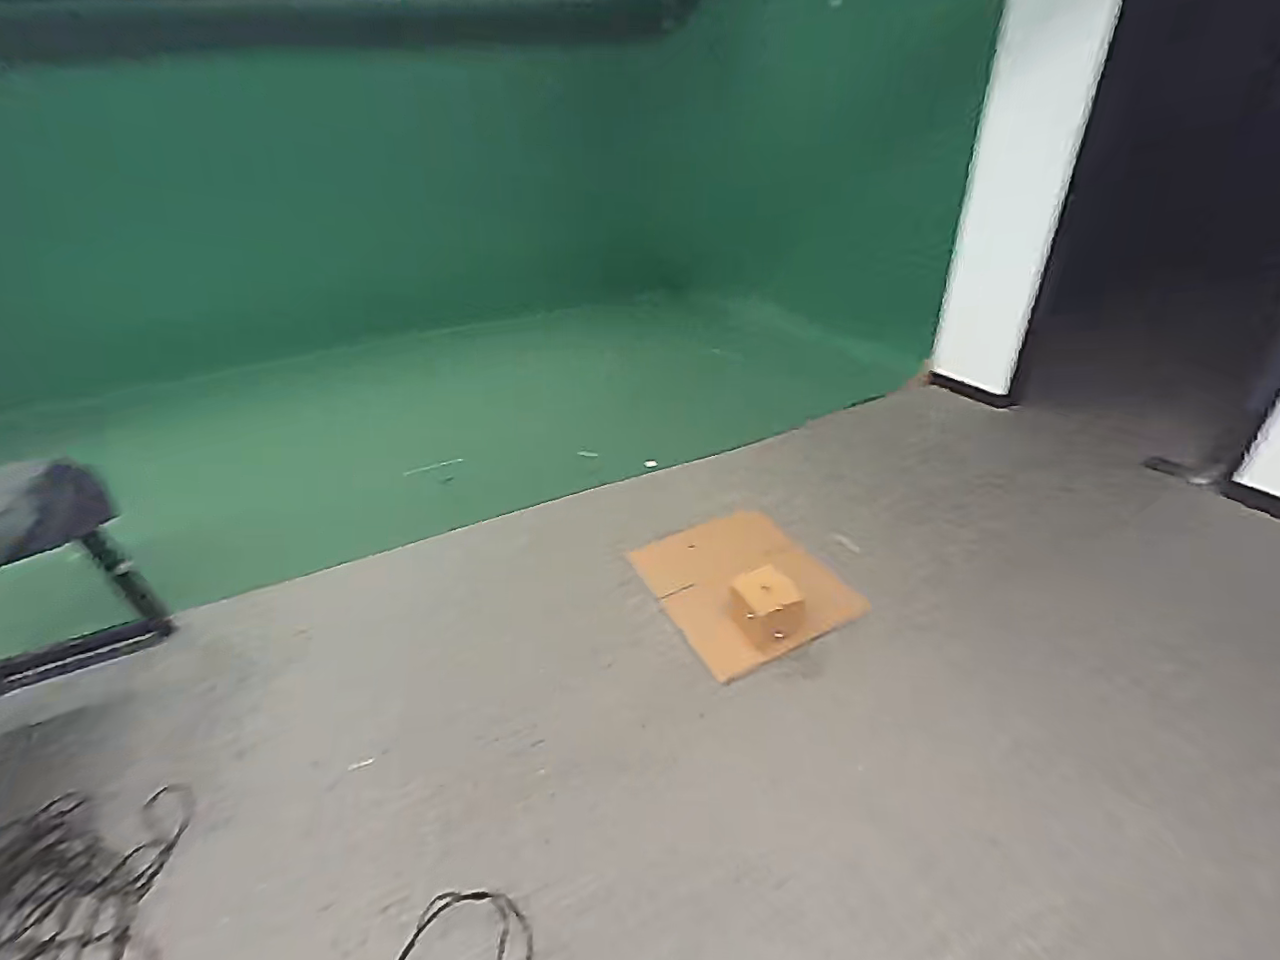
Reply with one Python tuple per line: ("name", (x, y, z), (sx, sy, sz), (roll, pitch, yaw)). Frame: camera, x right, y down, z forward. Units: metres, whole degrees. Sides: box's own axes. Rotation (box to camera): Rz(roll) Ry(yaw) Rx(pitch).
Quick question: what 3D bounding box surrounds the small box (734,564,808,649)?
("small box", (0.413, 0.404, 1.733), (0.168, 0.176, 0.179), (-17, 35, -17))
